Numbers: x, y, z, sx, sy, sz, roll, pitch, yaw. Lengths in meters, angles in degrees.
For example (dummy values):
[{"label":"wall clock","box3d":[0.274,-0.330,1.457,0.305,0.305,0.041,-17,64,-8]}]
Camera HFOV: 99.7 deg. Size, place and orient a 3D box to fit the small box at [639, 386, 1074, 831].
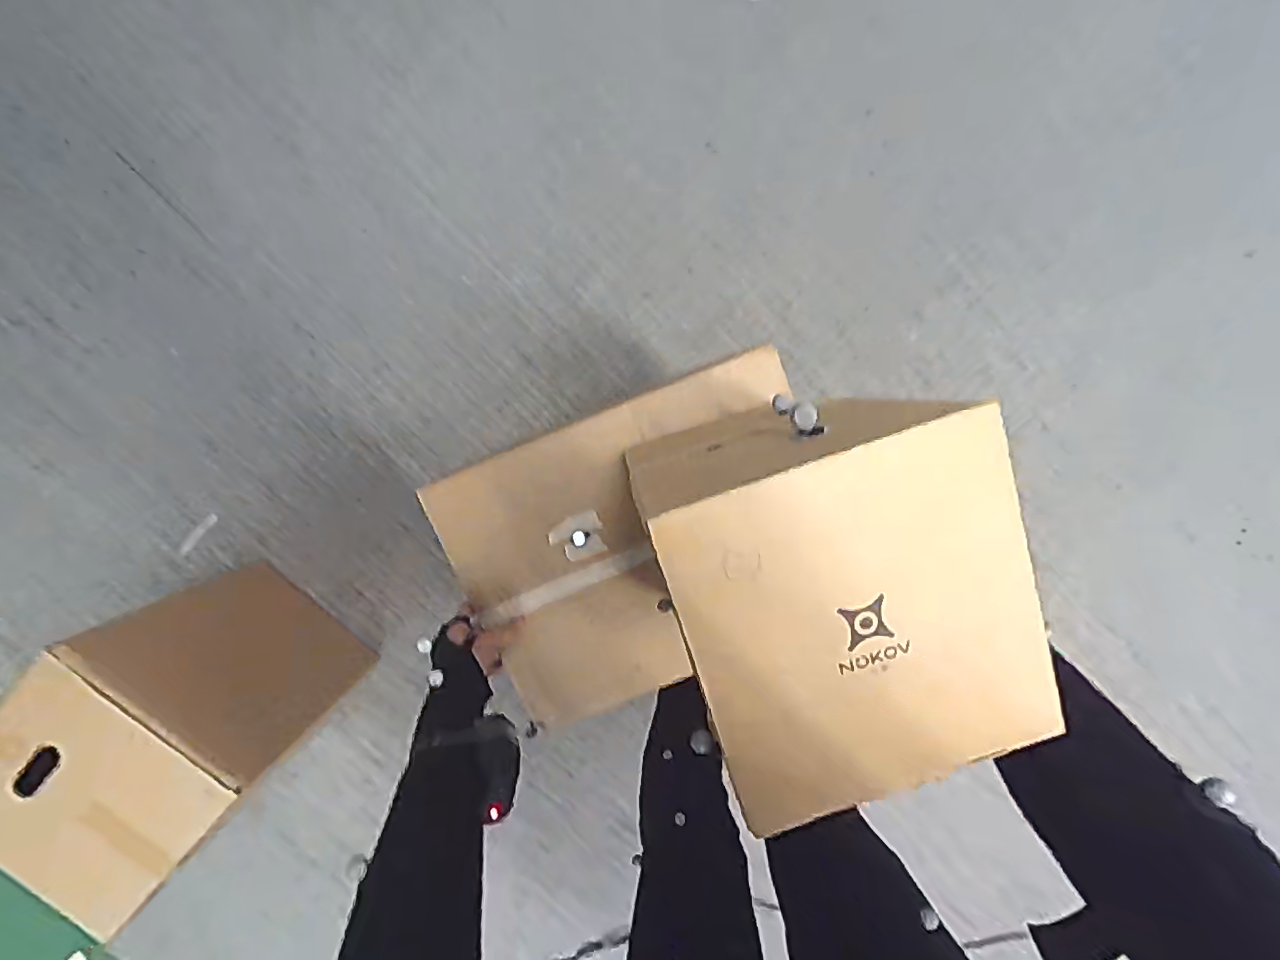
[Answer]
[{"label":"small box","box3d":[0.103,0.053,0.328,0.168,0.176,0.179,-19,100,-1]}]
